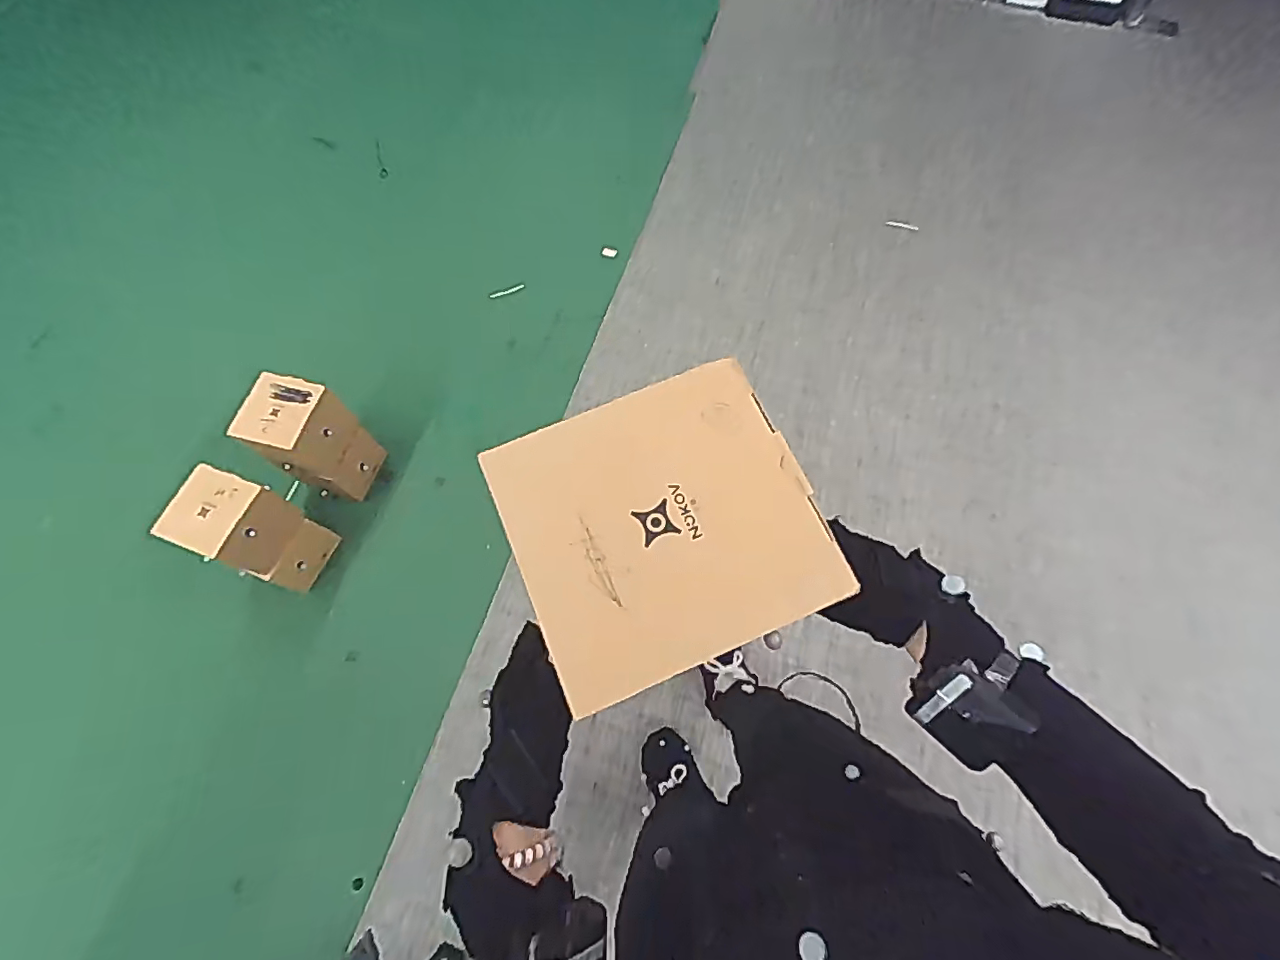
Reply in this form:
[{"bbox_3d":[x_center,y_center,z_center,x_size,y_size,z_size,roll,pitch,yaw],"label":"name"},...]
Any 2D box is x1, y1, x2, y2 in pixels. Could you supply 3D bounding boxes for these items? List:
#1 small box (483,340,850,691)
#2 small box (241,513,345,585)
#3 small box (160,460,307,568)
[{"bbox_3d":[0.012,0.034,0.396,0.179,0.176,0.168,-22,74,-6],"label":"small box"},{"bbox_3d":[-0.907,0.159,1.388,0.179,0.176,0.168,20,69,9],"label":"small box"},{"bbox_3d":[-0.915,0.085,1.240,0.168,0.176,0.179,19,69,8],"label":"small box"}]
